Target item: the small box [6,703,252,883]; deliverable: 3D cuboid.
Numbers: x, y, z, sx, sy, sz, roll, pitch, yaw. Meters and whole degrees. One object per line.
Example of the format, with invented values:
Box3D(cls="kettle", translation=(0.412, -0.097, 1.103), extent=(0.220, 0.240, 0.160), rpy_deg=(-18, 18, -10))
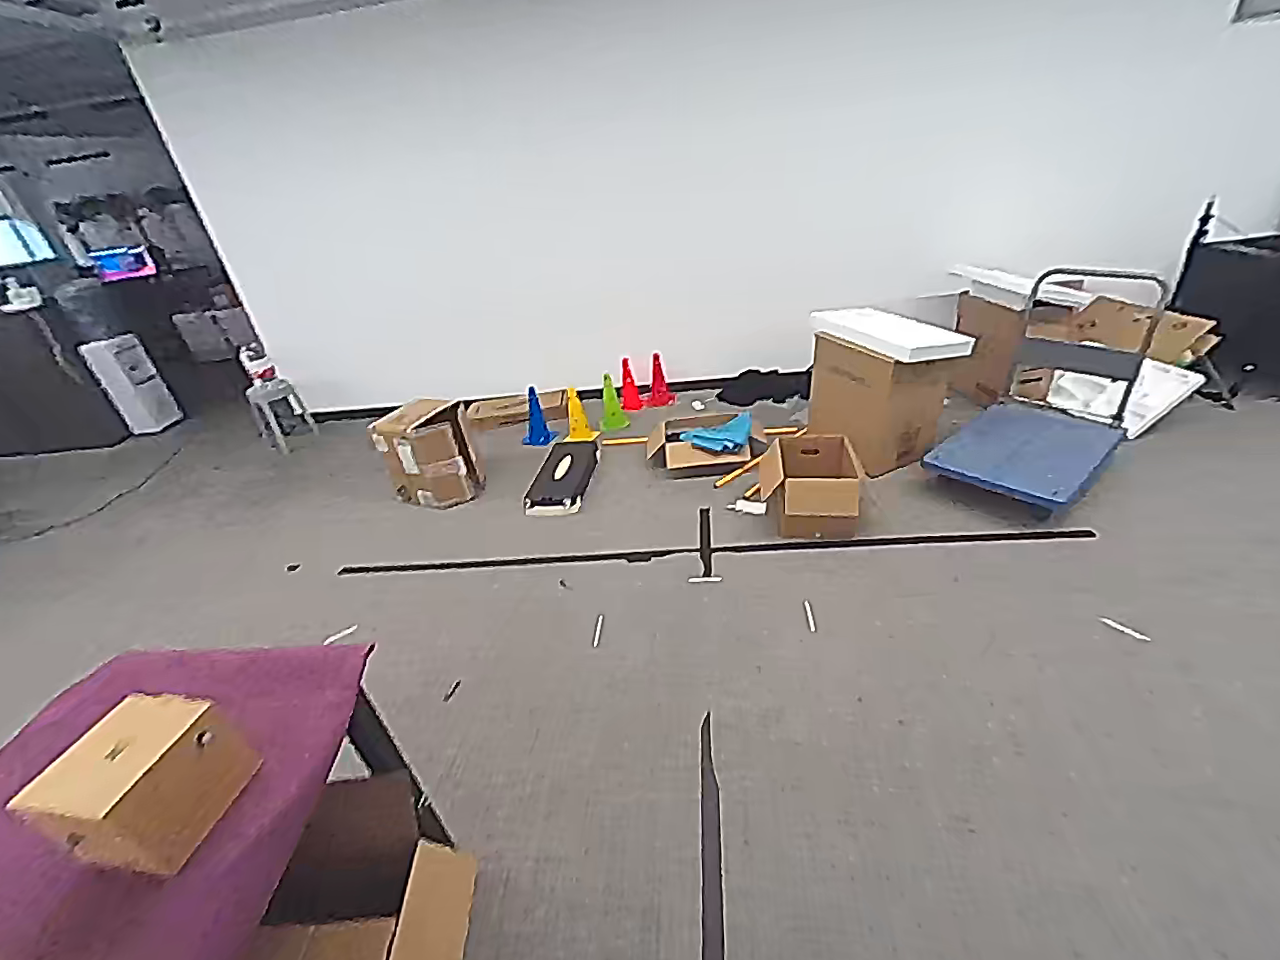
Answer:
Box3D(cls="small box", translation=(-0.740, 0.465, 0.811), extent=(0.168, 0.176, 0.179), rpy_deg=(-1, 30, 11))
